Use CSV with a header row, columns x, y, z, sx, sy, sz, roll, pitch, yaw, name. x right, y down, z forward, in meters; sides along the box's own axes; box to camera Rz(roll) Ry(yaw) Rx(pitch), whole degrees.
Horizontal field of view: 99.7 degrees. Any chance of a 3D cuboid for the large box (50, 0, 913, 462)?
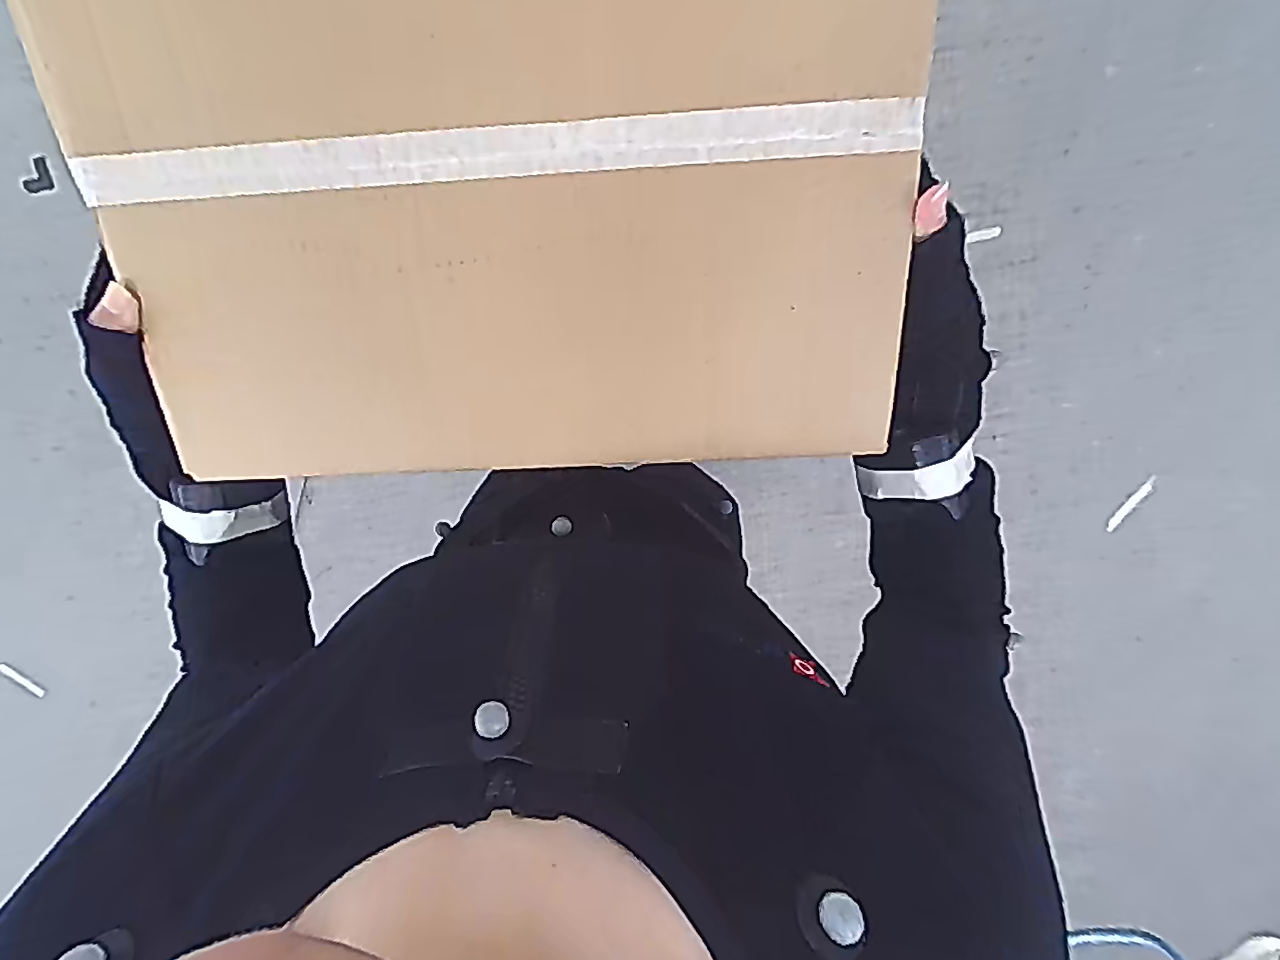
x,y,z,sx,sy,sz,roll,pitch,yaw,name
-0.071,-0.215,0.407,0.408,0.320,0.320,-2,111,2,large box
